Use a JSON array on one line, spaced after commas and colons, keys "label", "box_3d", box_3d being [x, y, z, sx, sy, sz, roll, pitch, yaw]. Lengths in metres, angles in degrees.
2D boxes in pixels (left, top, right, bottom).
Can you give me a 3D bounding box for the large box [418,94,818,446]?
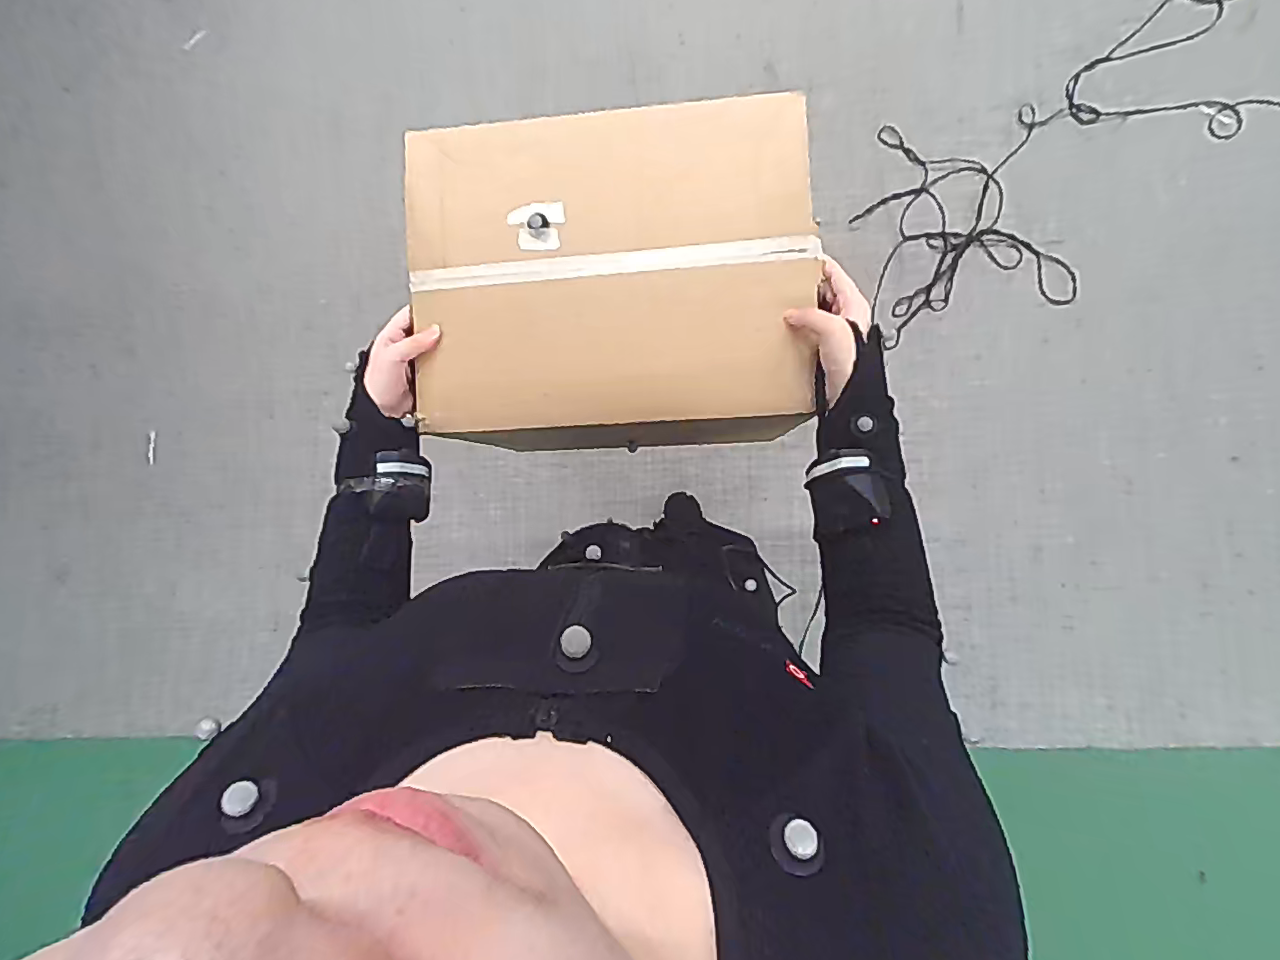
[{"label": "large box", "box_3d": [-0.012, -0.215, 0.697, 0.408, 0.320, 0.320, -3, 89, 7]}]
